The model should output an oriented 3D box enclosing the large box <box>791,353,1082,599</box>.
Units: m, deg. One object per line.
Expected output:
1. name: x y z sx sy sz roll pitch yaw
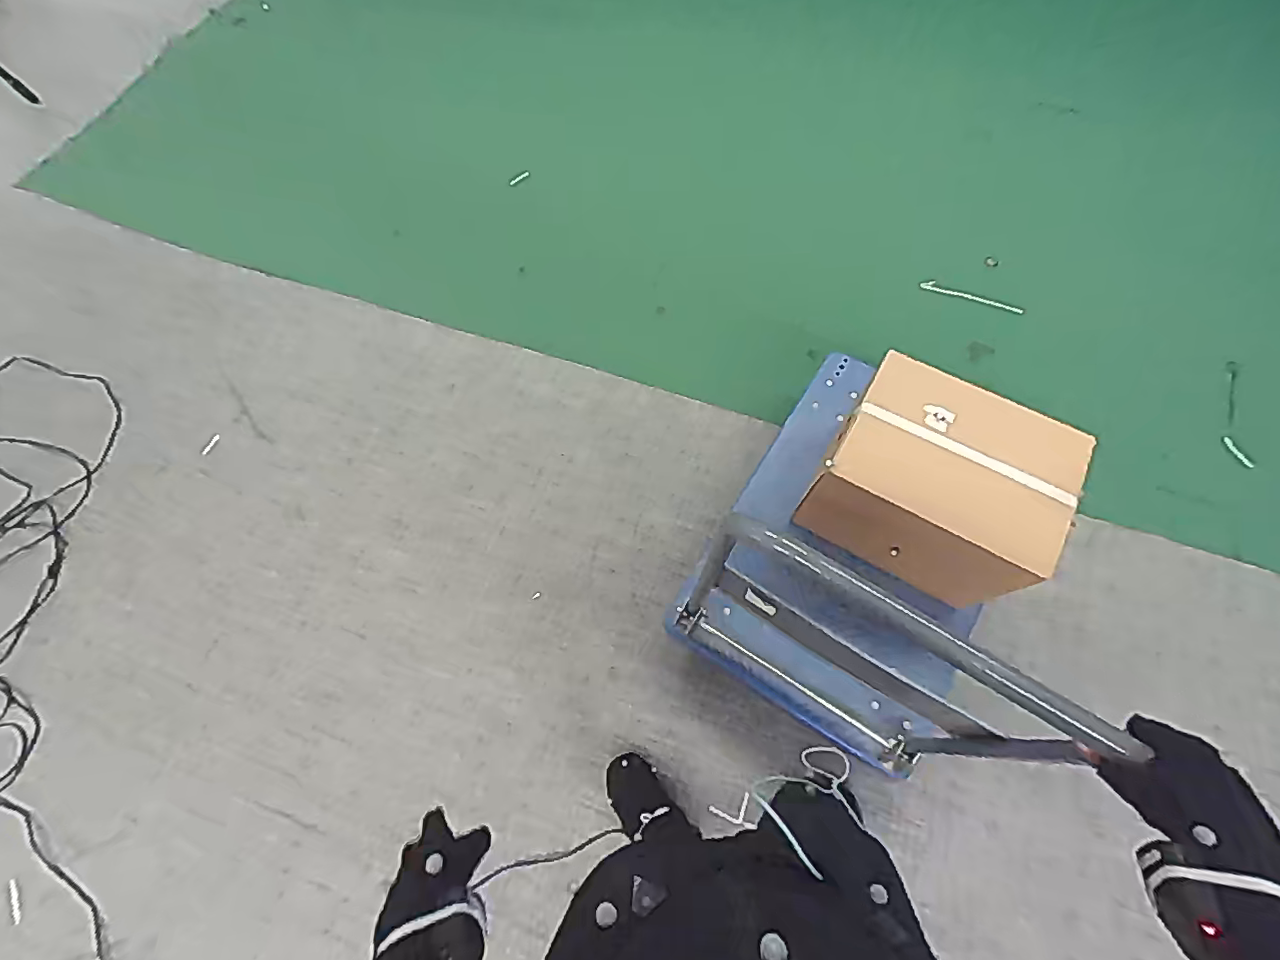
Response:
1. large box: 0.597 0.005 1.153 0.408 0.320 0.320 28 71 13
